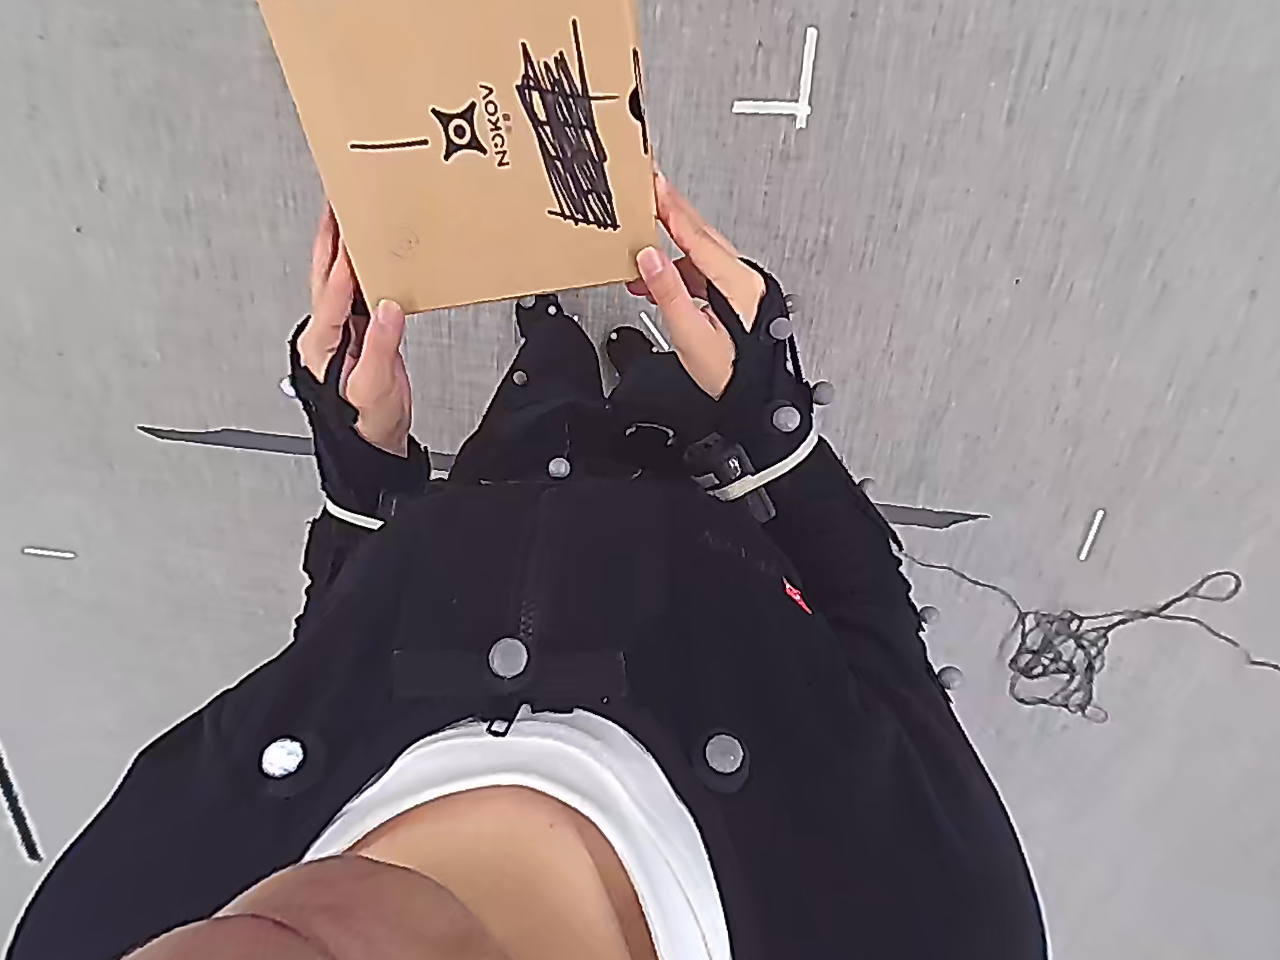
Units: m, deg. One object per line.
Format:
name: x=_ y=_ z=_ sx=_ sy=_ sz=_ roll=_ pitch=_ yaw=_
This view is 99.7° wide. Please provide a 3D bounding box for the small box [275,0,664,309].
small box: x=-0.083 y=-0.221 z=0.357 sx=0.179 sy=0.176 sz=0.168 roll=-7 pitch=117 yaw=3
